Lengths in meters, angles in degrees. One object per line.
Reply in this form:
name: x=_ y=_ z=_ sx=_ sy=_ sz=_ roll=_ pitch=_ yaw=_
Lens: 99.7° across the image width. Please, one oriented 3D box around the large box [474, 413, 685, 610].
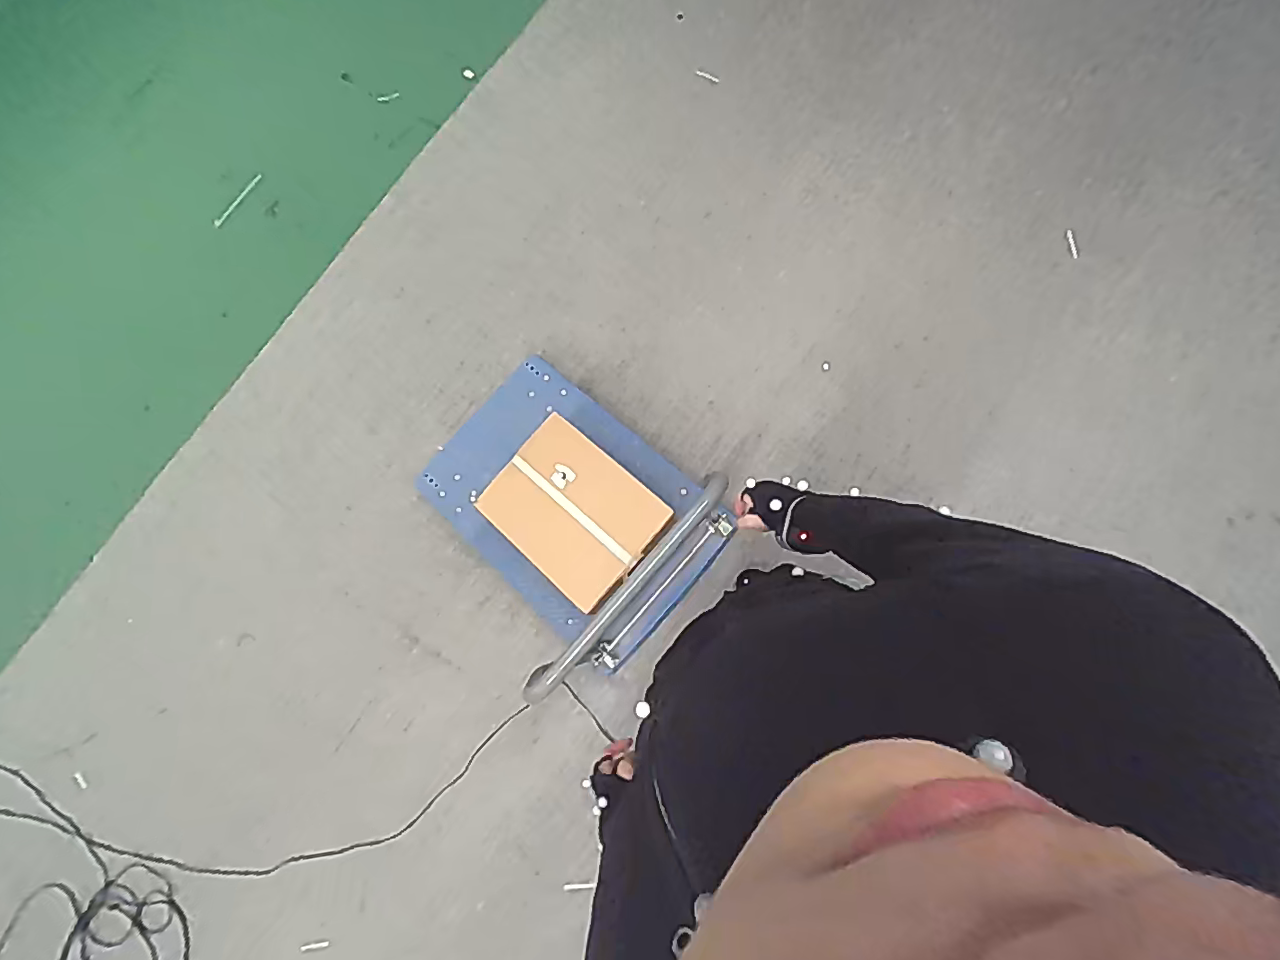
large box: x=-0.139 y=0.097 z=1.431 sx=0.408 sy=0.320 sz=0.320 roll=40 pitch=86 yaw=17
